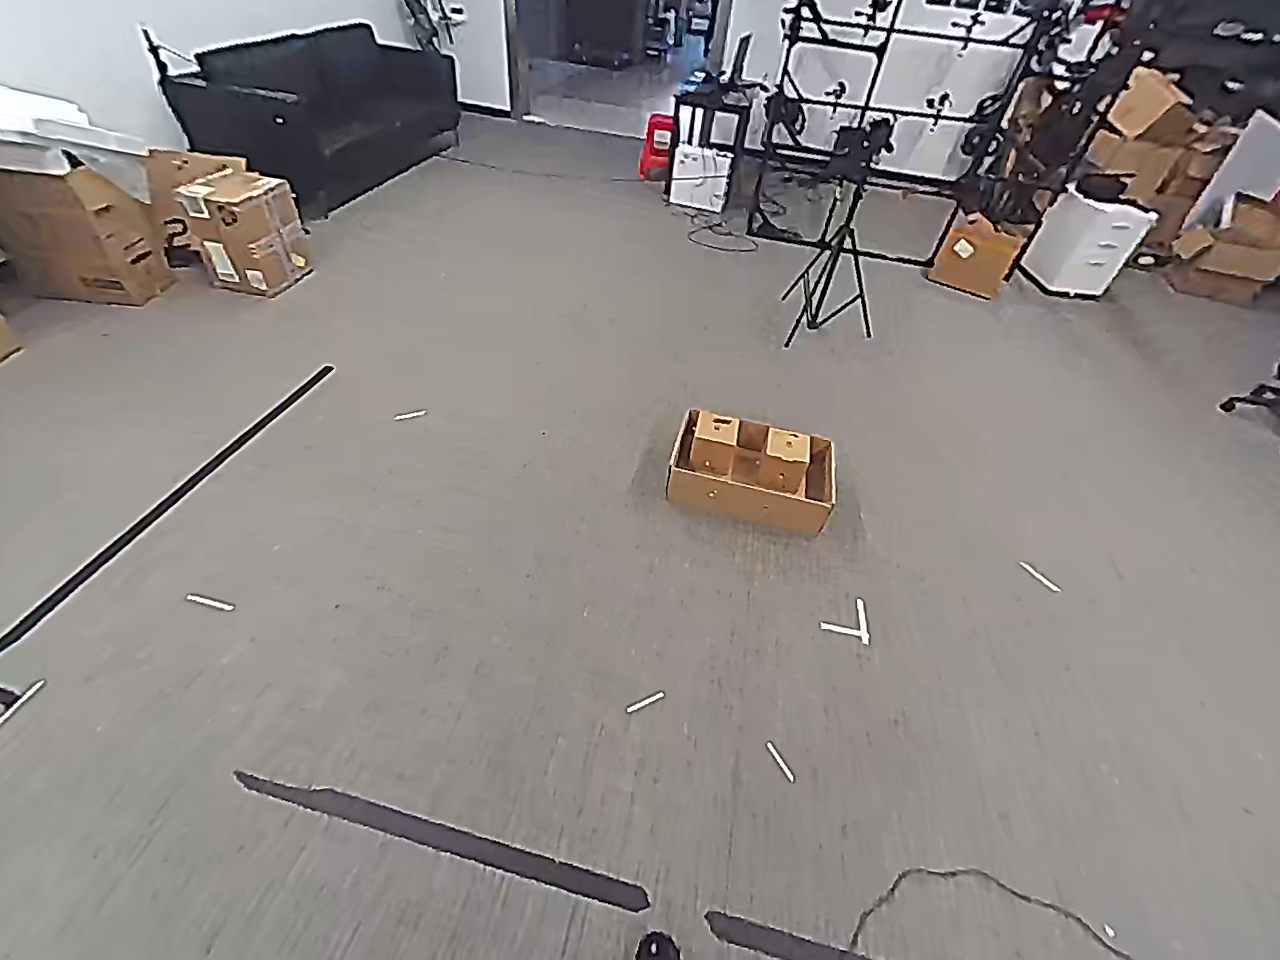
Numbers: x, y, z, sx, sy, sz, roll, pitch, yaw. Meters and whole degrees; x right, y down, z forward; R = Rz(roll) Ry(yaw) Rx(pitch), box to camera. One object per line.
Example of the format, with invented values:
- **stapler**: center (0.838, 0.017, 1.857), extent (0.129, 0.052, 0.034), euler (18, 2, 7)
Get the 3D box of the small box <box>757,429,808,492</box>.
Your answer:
- **small box**: center (0.571, -0.076, 2.175), extent (0.168, 0.176, 0.179), euler (12, 46, 9)
